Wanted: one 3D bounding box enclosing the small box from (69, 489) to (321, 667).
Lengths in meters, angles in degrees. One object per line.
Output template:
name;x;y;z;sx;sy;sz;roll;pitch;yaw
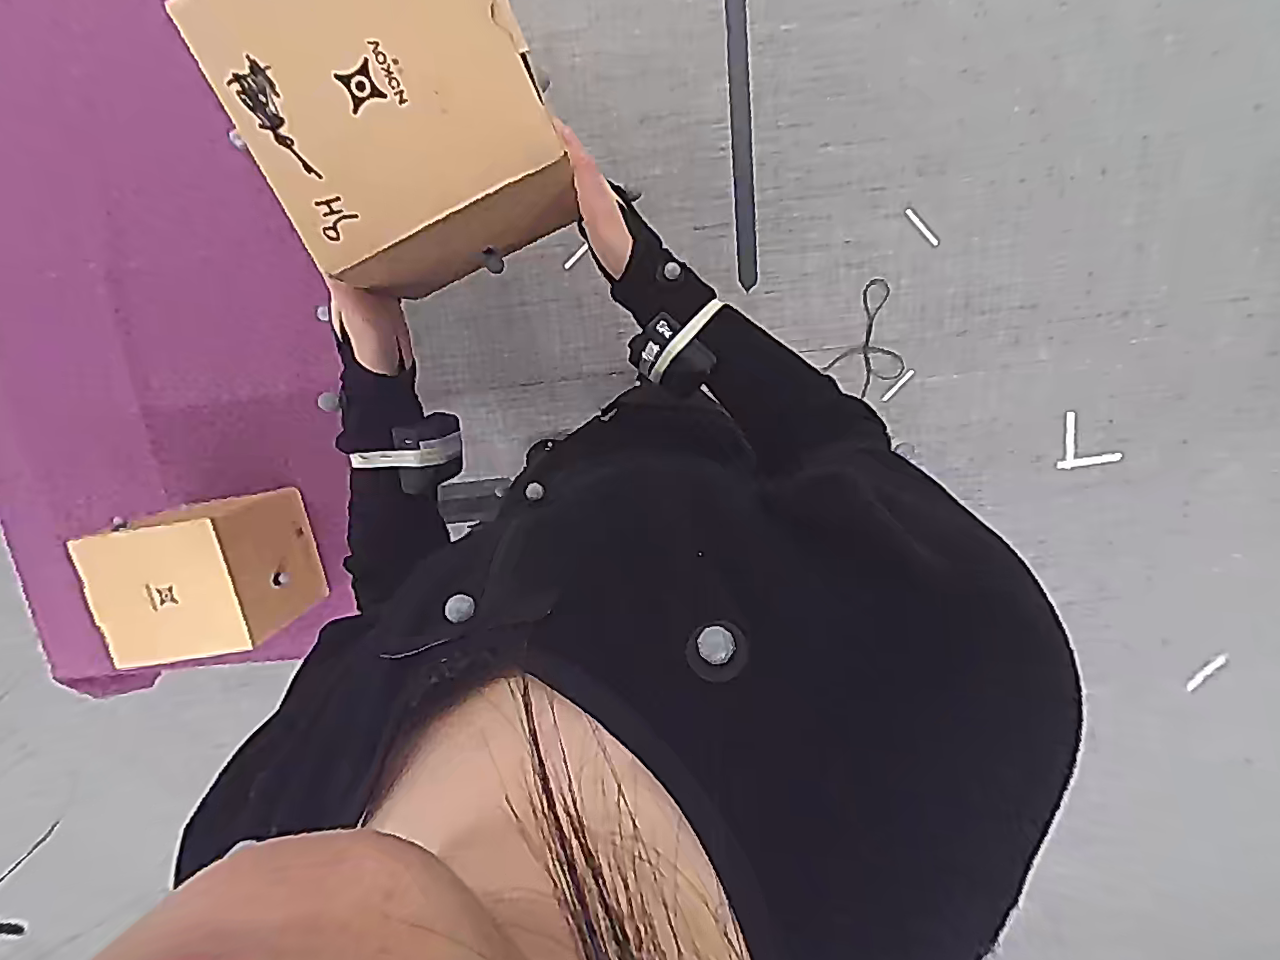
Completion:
small box;-0.554;0.117;0.709;0.179;0.176;0.168;-9;102;3

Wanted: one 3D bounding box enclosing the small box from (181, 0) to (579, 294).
small box;-0.156;-0.256;0.399;0.179;0.176;0.168;-25;103;2
